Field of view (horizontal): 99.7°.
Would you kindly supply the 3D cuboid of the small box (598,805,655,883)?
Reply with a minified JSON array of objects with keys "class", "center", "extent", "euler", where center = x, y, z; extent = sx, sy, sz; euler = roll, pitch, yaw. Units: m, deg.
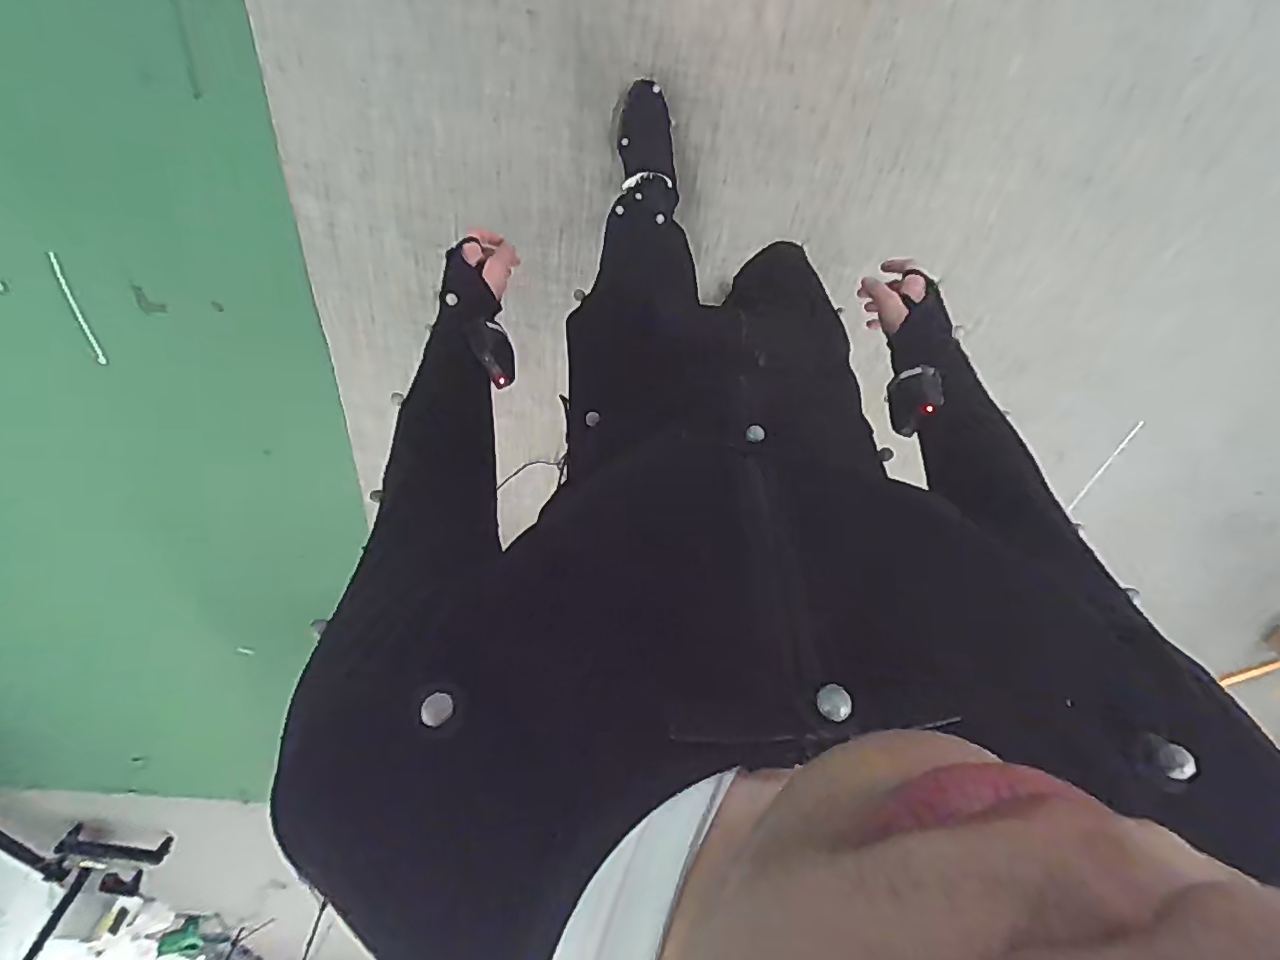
[{"class":"small box","center":[-0.044,1.162,1.728],"extent":[0.168,0.176,0.179],"euler":[5,129,-3]}]
